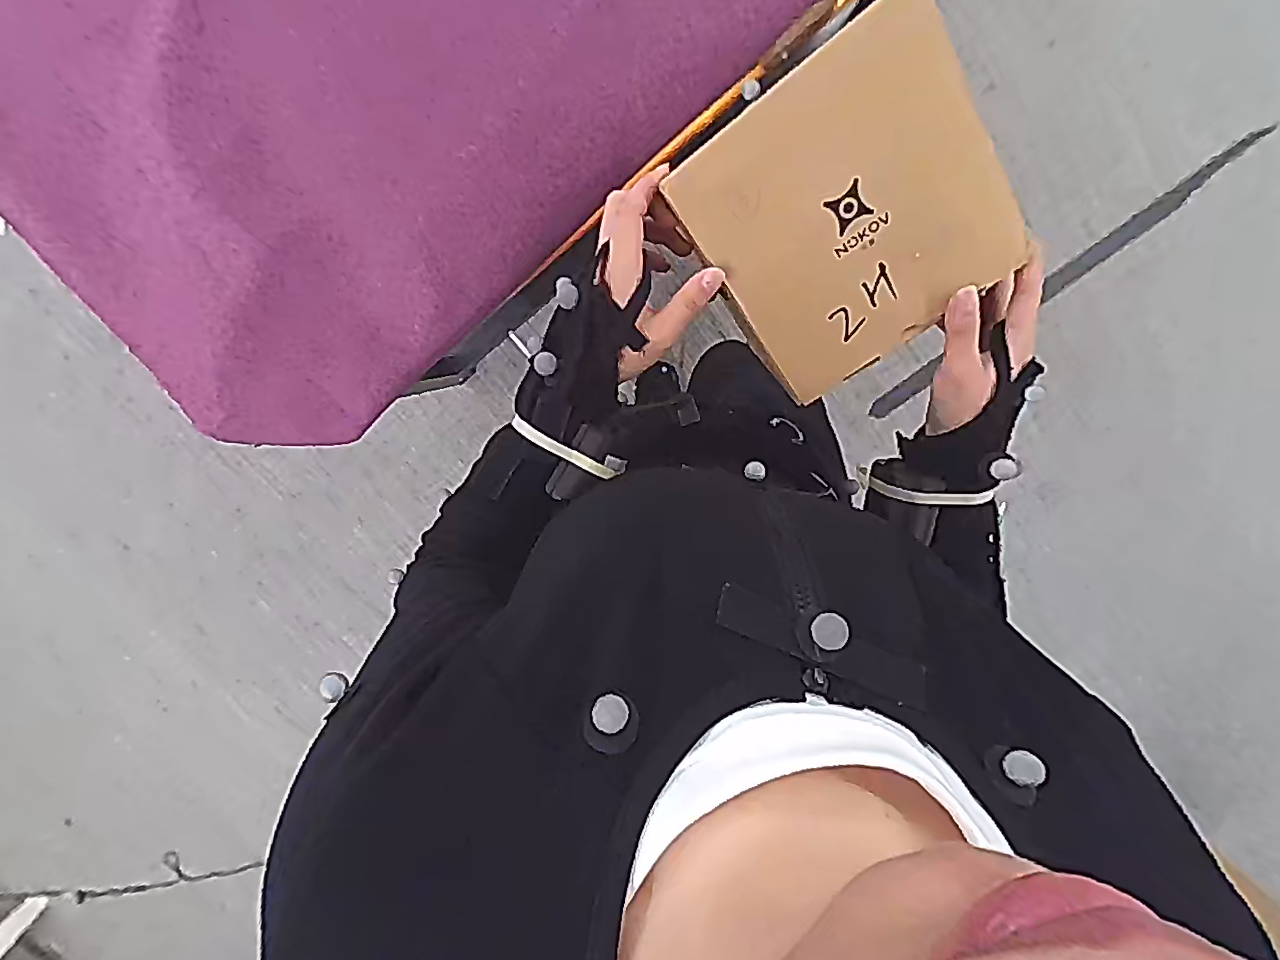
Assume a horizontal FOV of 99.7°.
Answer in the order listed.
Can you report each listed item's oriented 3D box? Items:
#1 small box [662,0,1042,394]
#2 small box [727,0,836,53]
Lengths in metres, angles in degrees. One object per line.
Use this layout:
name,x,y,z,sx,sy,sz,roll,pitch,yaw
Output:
small box,0.126,-0.195,0.387,0.168,0.176,0.179,-33,112,16
small box,0.256,-0.899,0.943,0.168,0.176,0.179,-37,101,9
